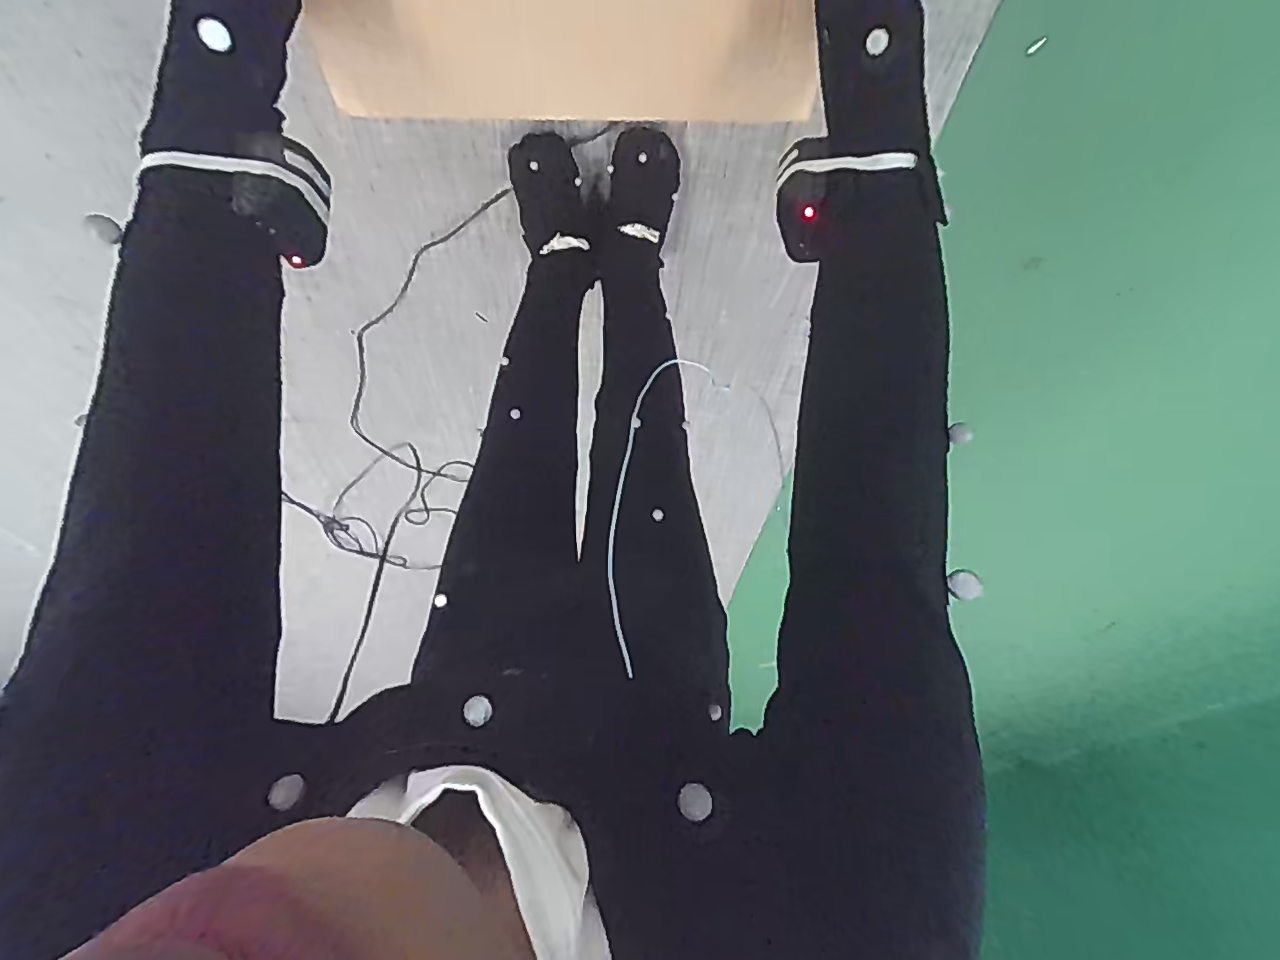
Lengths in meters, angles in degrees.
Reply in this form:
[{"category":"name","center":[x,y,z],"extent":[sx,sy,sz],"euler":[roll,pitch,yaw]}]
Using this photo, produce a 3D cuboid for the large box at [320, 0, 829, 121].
[{"category":"large box","center":[-0.053,-0.534,0.461],"extent":[0.408,0.320,0.320],"euler":[0,140,0]}]
